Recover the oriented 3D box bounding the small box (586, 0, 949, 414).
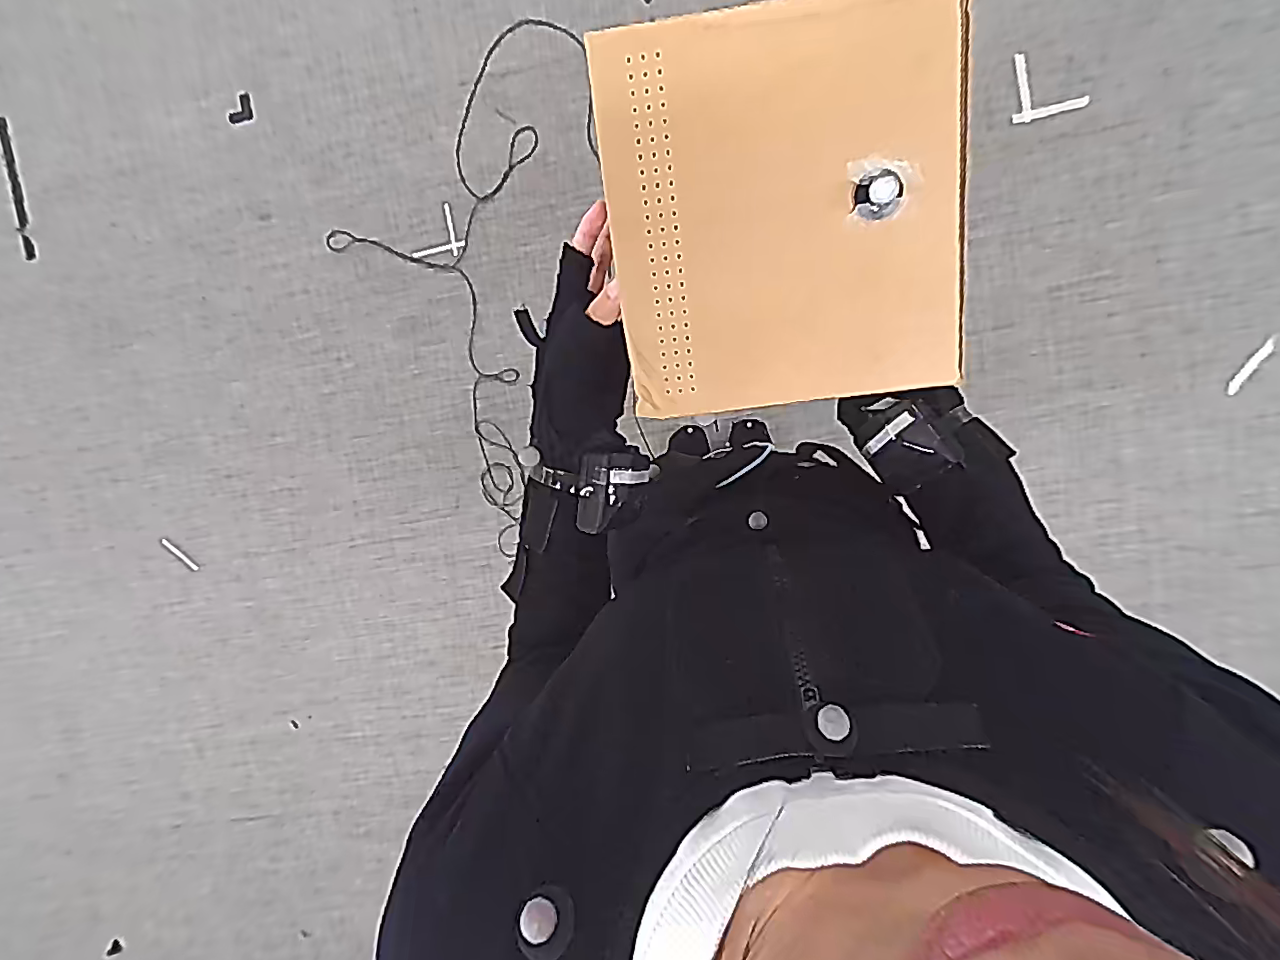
[{"bbox_3d":[0.067,-0.148,0.342,0.176,0.168,0.179,-6,105,6],"label":"small box"}]
